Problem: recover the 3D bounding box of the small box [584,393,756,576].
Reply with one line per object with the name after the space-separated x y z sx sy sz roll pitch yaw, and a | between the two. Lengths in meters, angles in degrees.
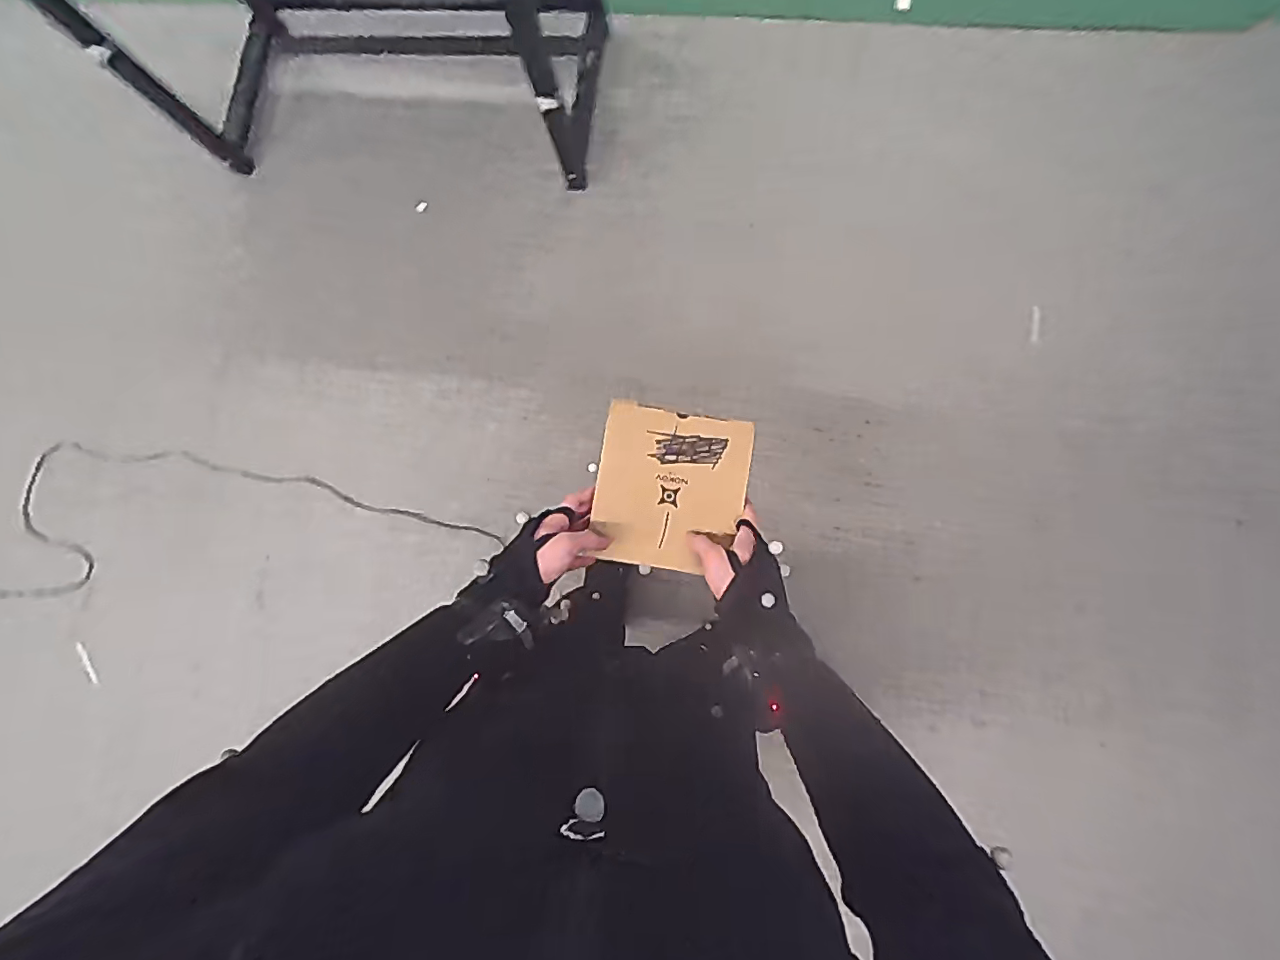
0.029 0.012 0.655 0.168 0.176 0.179 9 84 -2 | small box
